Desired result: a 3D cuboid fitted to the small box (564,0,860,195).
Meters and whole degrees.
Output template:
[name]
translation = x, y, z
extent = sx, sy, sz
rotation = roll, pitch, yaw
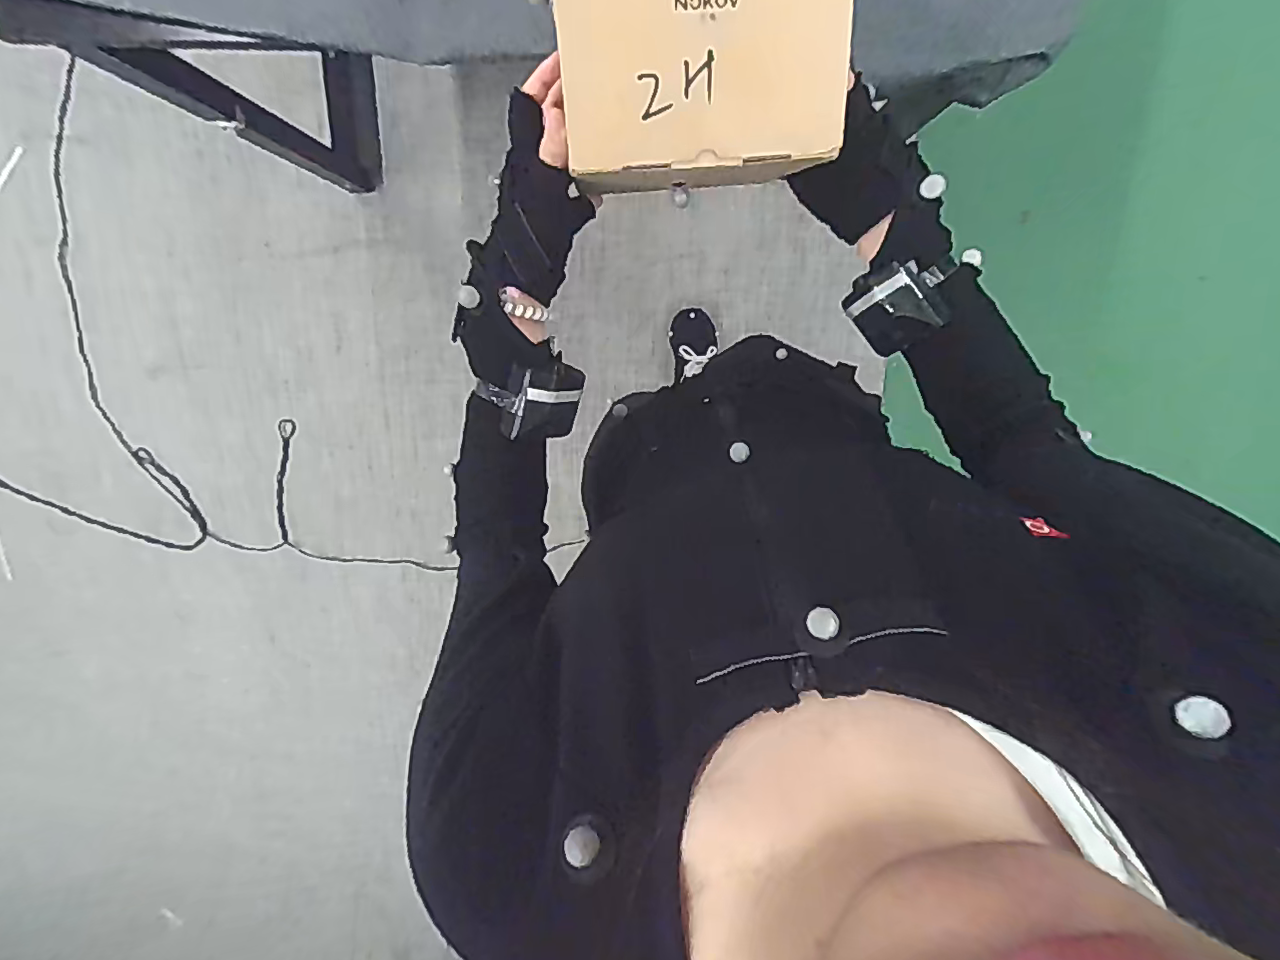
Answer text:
[small box]
translation = 0.034, -0.301, 0.364
extent = 0.168, 0.176, 0.179
rotation = -5, 114, -3
